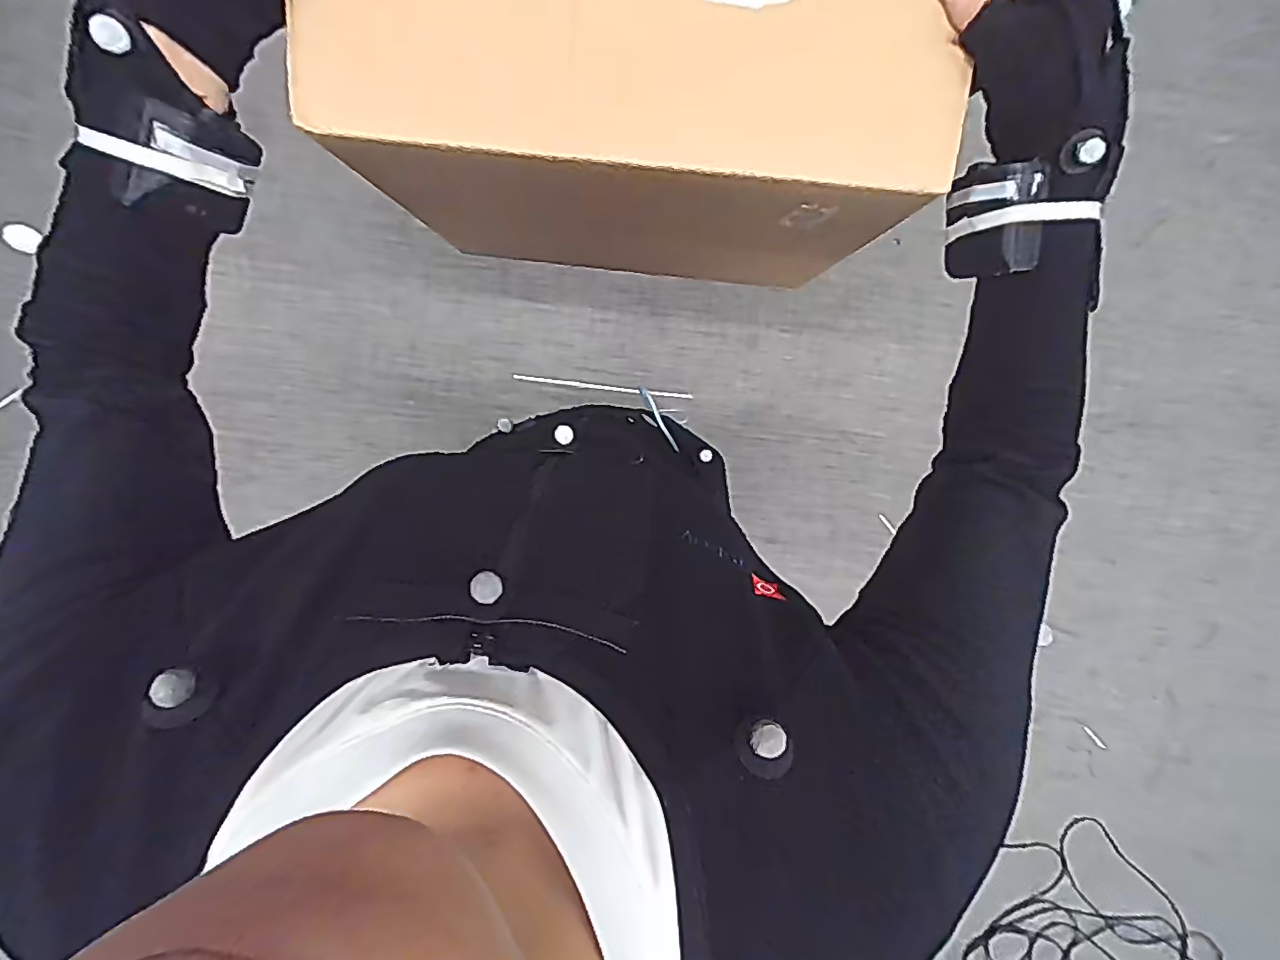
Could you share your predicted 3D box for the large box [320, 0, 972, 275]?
[{"bbox_3d":[0.008,-0.379,0.465,0.408,0.320,0.320,5,100,-1],"label":"large box"}]
